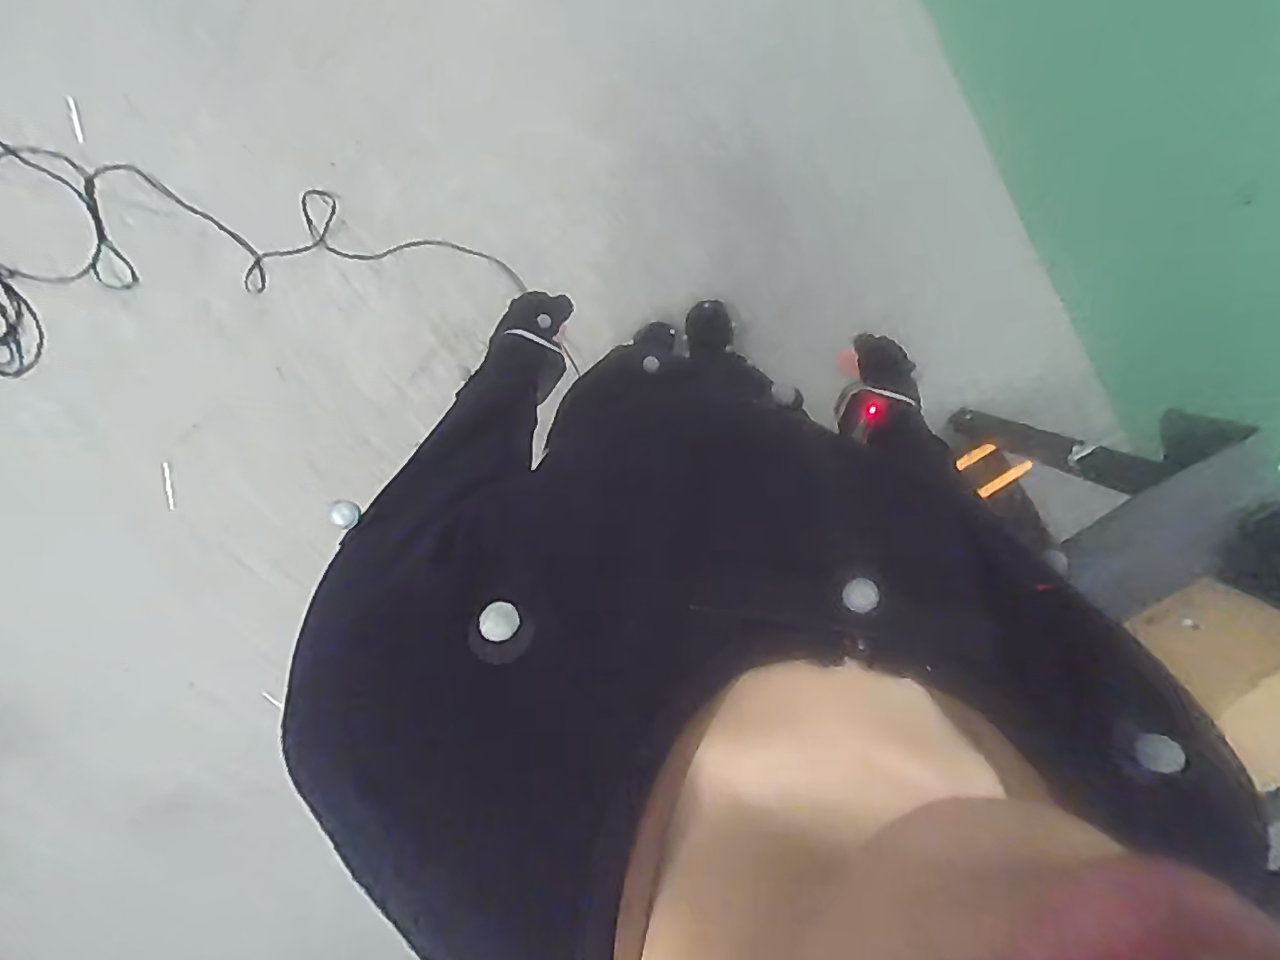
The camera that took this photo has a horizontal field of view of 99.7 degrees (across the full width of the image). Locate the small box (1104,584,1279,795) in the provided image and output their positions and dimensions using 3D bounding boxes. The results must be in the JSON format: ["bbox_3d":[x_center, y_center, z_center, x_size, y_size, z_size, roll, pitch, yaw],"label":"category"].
[{"bbox_3d":[0.814,0.280,0.750,0.168,0.176,0.179,-38,104,10],"label":"small box"}]
